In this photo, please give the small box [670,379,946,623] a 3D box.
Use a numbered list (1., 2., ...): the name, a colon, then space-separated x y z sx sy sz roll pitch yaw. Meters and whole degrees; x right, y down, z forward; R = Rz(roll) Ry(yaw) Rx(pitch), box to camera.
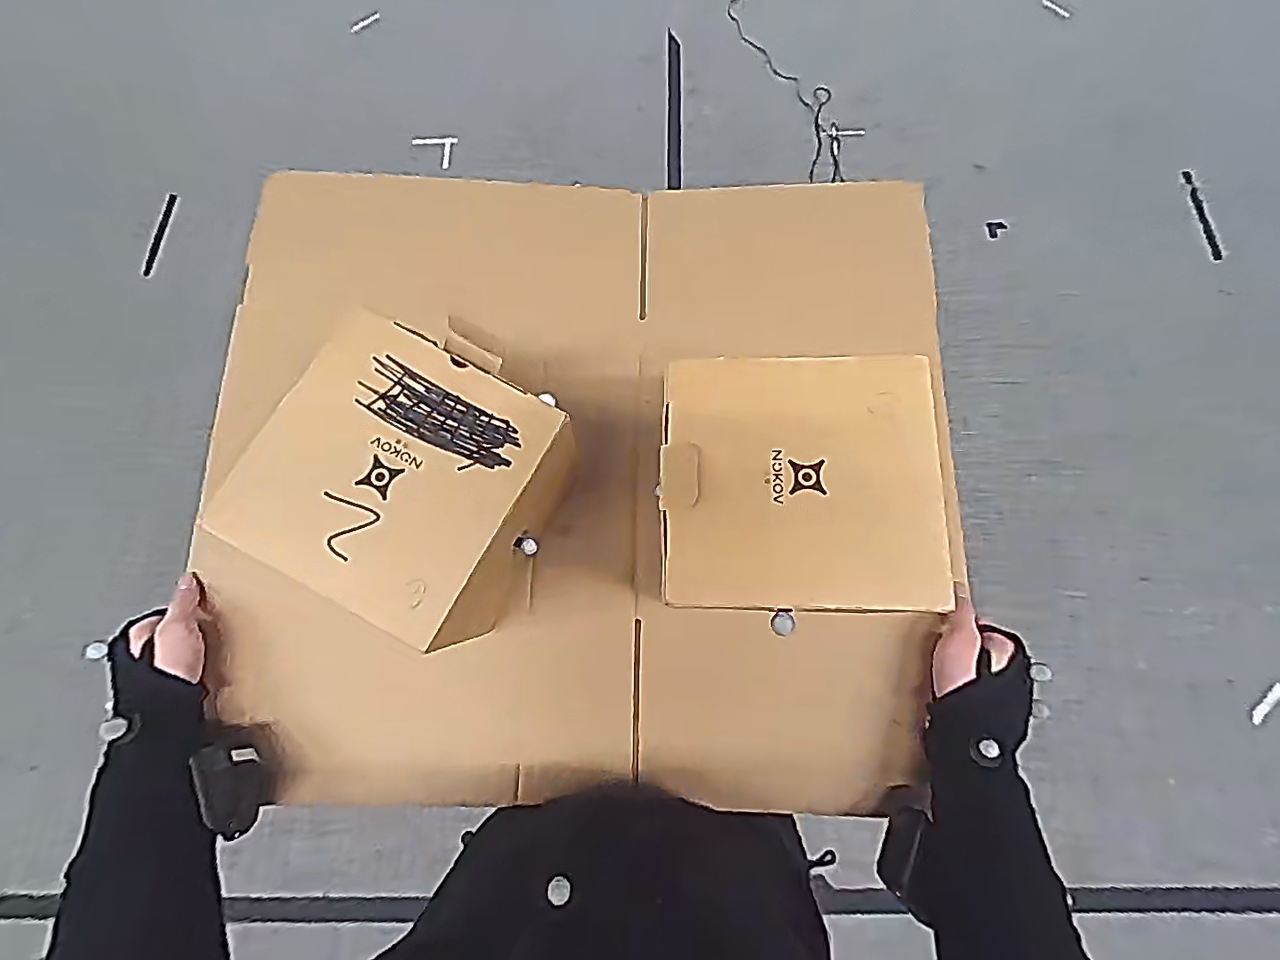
1. small box: 0.114 0.027 0.439 0.179 0.176 0.168 -1 76 5
